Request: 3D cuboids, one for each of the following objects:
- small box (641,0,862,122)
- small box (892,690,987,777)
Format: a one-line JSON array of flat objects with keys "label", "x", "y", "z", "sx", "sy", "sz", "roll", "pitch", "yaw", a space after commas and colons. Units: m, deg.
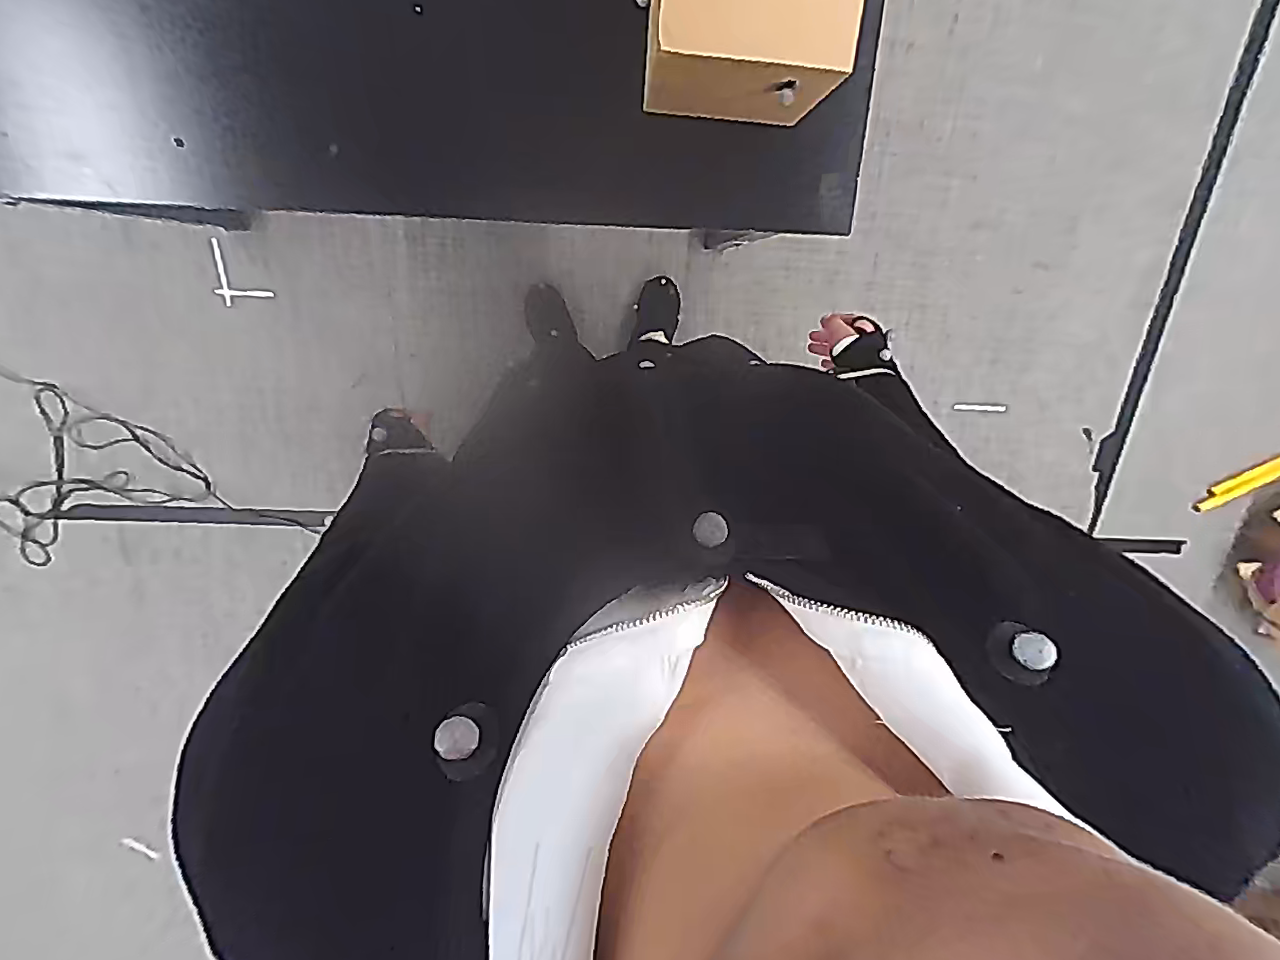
[{"label": "small box", "x": 0.098, "y": -0.463, "z": 0.515, "sx": 0.179, "sy": 0.176, "sz": 0.168, "roll": 3, "pitch": 109, "yaw": -4}, {"label": "small box", "x": 0.875, "y": 0.741, "z": 1.599, "sx": 0.168, "sy": 0.176, "sz": 0.179, "roll": -2, "pitch": 114, "yaw": -4}]
